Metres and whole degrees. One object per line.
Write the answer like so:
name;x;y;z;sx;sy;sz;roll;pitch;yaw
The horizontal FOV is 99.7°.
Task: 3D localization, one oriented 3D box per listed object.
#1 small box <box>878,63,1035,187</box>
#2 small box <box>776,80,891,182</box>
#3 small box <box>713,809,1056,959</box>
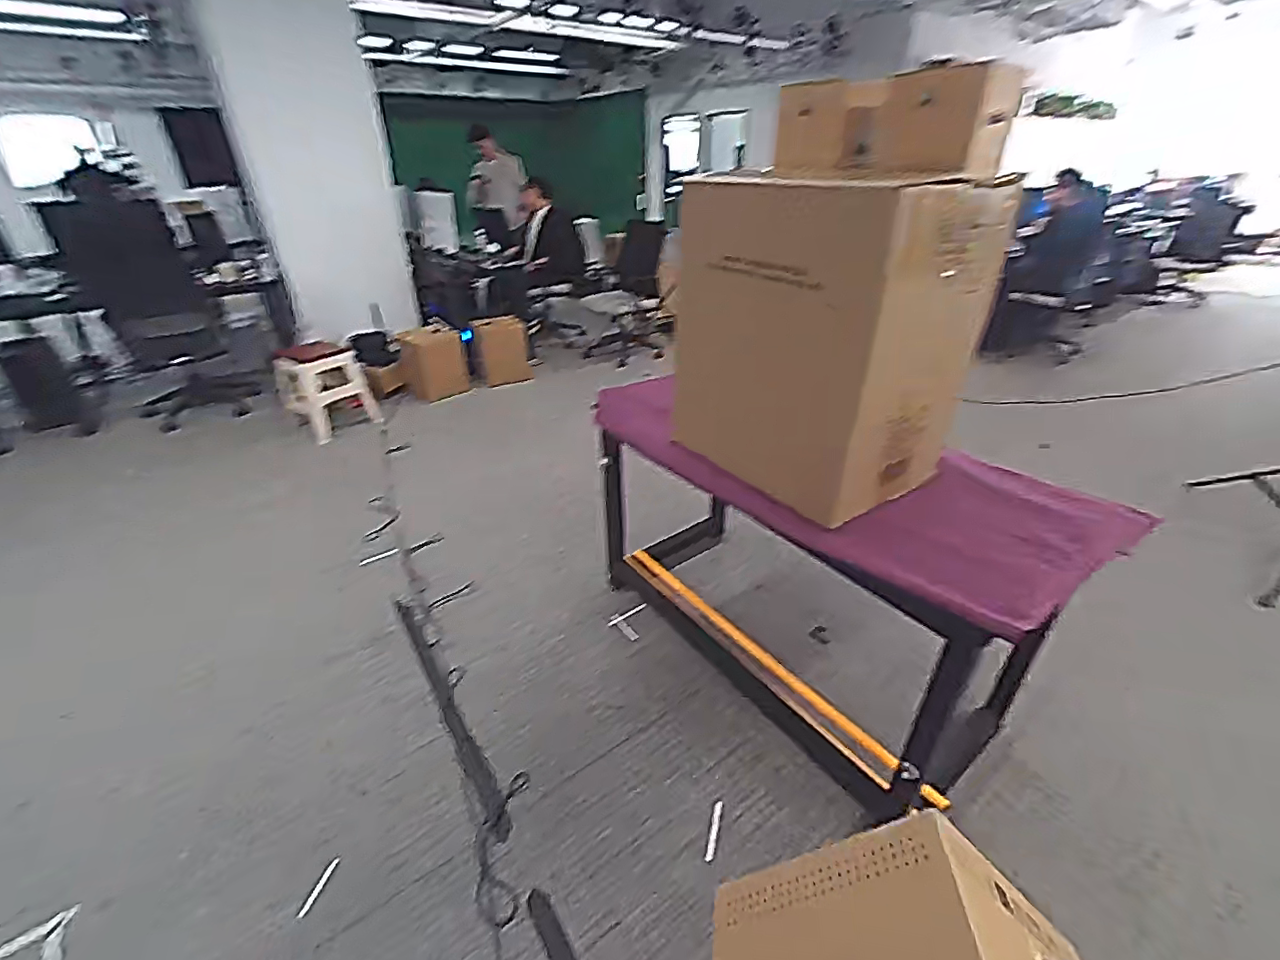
small box;0.561;-0.630;0.974;0.168;0.176;0.179;-24;36;-33
small box;0.409;-0.728;1.138;0.168;0.176;0.179;-22;39;-29
small box;0.152;0.334;0.306;0.179;0.168;0.176;-40;13;22
